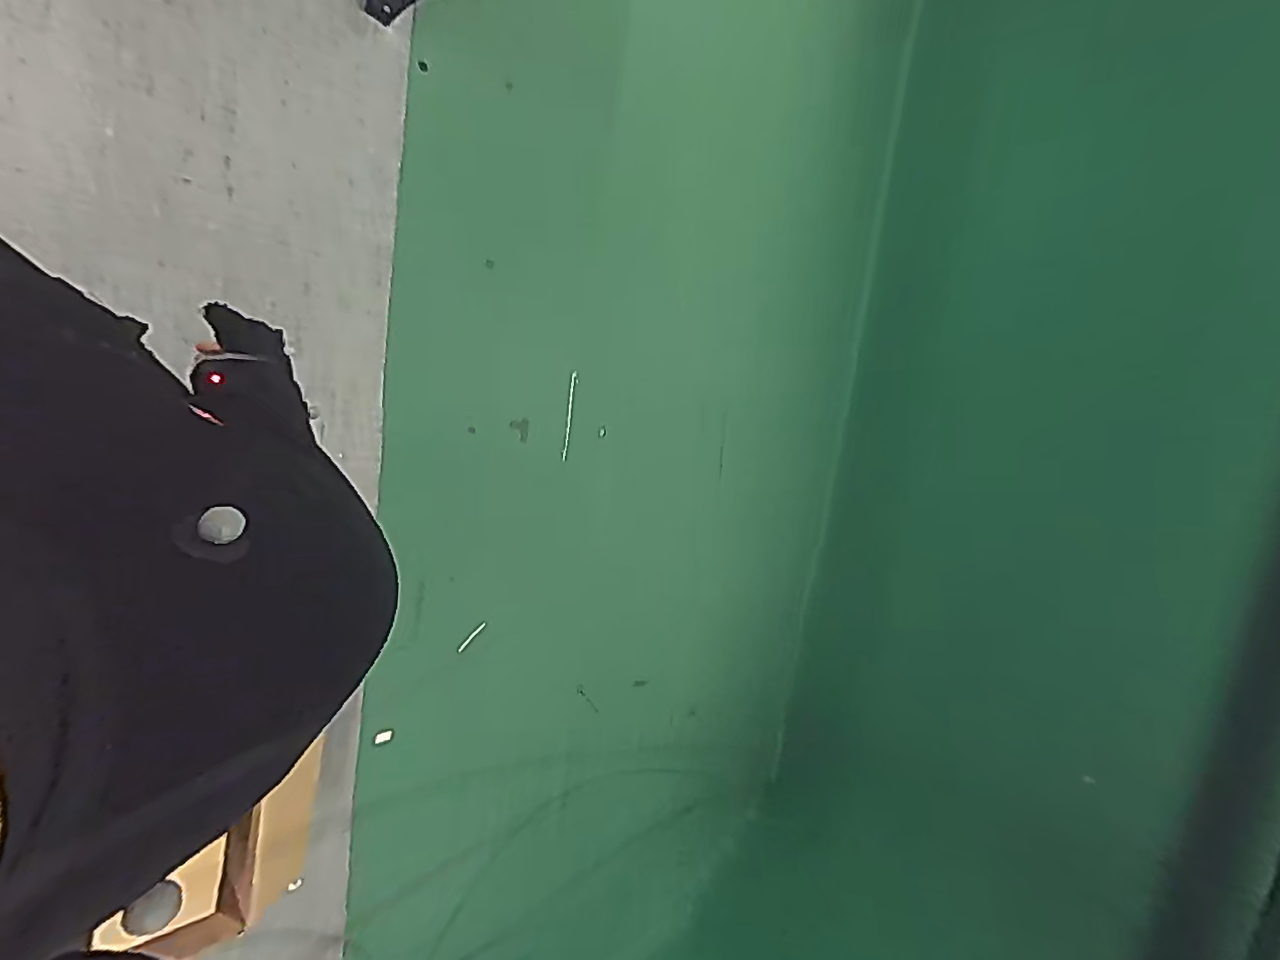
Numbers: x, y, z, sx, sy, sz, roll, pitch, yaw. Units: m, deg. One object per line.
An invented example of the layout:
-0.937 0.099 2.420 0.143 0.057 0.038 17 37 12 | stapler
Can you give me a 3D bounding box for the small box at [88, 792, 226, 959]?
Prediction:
-0.933 0.747 1.043 0.179 0.176 0.168 6 96 -49 | small box
